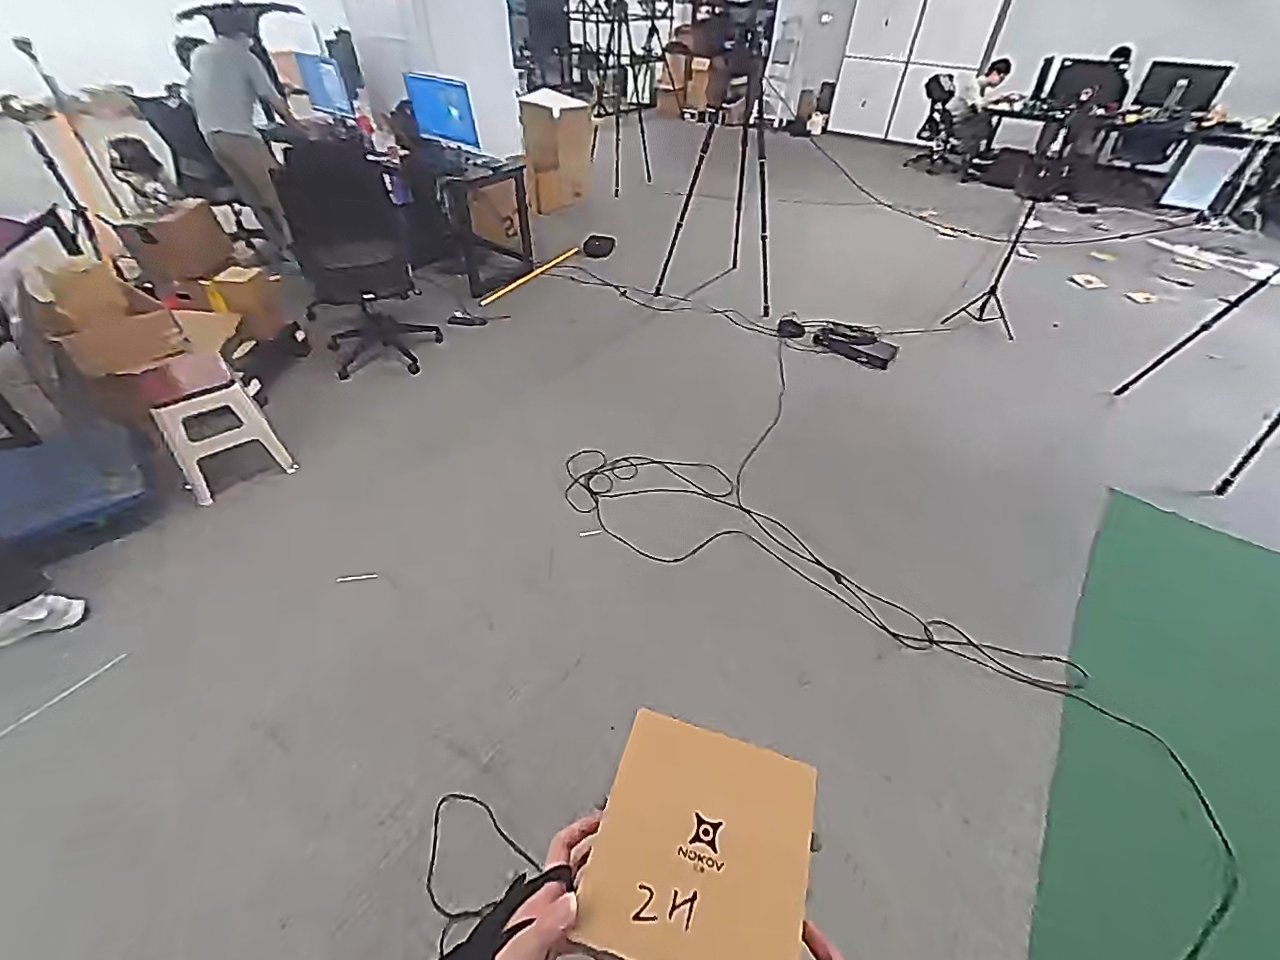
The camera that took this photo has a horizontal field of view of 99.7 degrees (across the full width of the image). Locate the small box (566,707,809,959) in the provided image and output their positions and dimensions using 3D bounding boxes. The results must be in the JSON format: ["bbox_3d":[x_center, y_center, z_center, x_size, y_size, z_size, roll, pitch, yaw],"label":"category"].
[{"bbox_3d":[0.044,0.349,0.499,0.168,0.176,0.179,15,47,12],"label":"small box"}]
